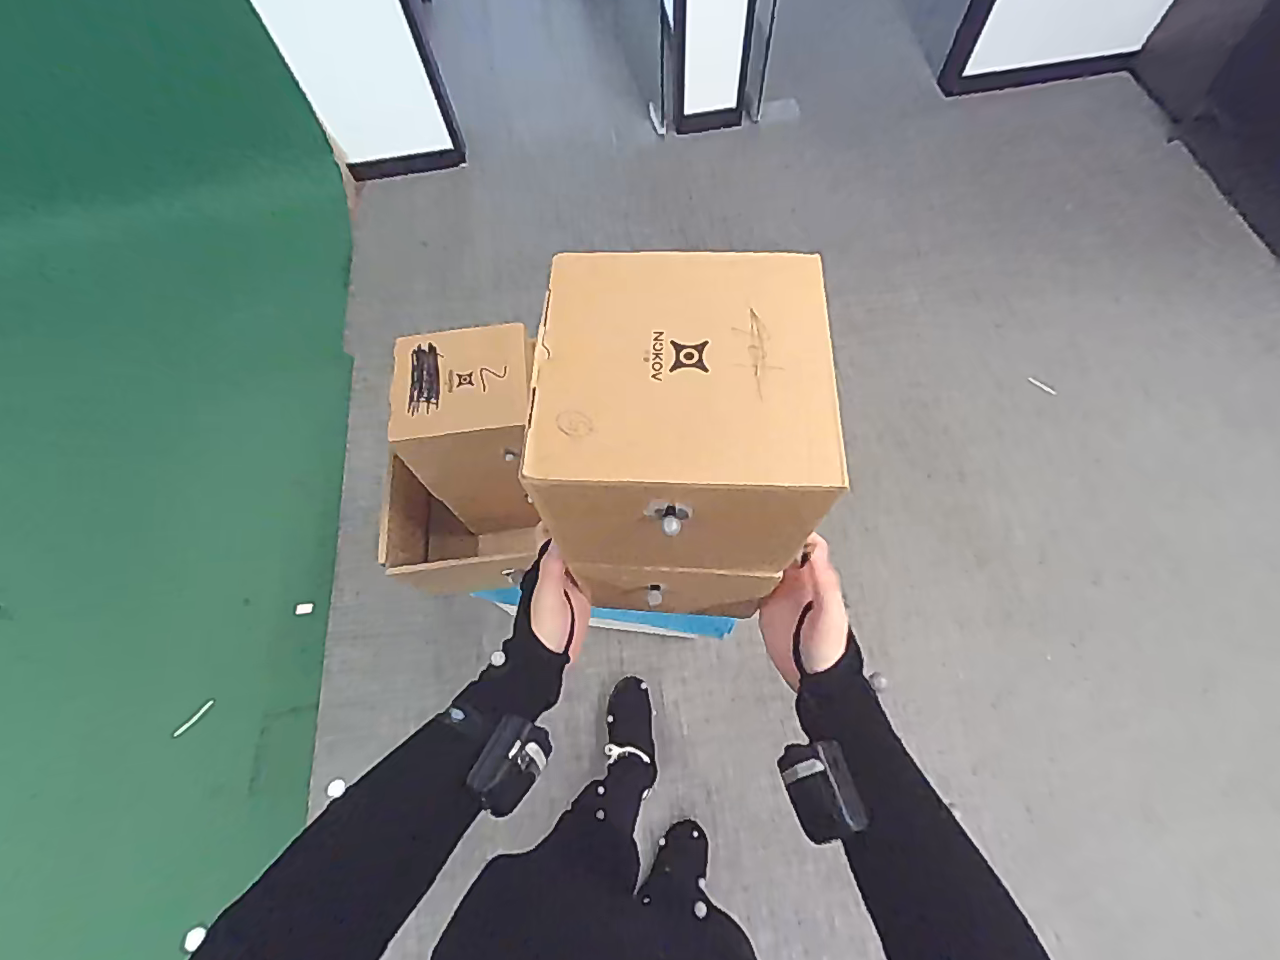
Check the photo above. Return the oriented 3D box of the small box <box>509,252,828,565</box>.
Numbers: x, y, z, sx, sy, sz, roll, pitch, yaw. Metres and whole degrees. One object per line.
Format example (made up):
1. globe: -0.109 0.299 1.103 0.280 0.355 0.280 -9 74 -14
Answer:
1. small box: 0.023 -0.040 0.395 0.179 0.176 0.168 1 66 4

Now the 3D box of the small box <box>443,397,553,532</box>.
1. small box: -0.218 -0.022 0.920 0.179 0.176 0.168 -8 64 -1
